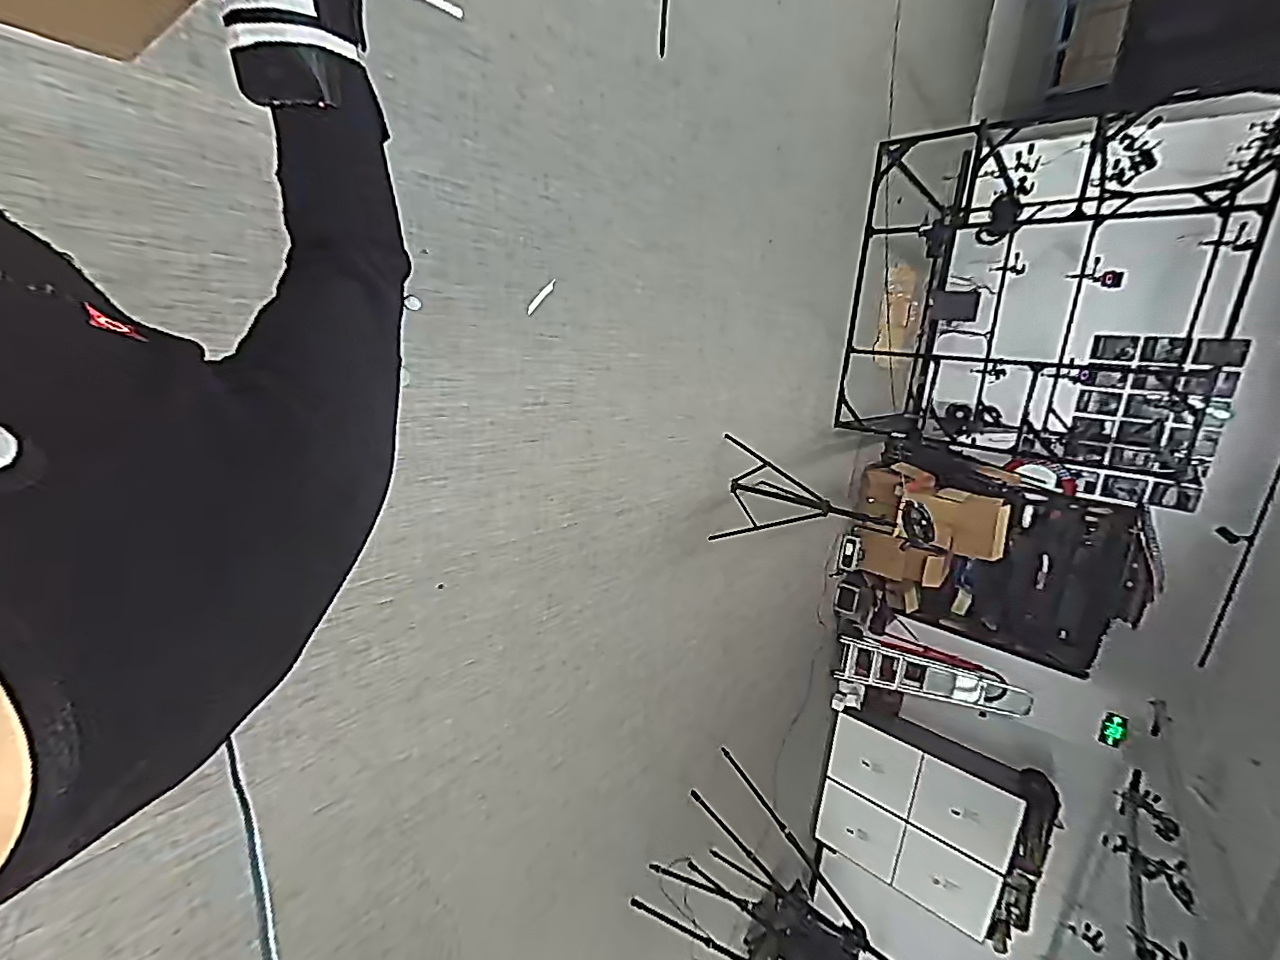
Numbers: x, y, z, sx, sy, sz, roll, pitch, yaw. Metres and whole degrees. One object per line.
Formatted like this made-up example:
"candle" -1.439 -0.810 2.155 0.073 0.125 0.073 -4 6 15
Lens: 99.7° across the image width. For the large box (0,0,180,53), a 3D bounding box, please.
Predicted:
"large box" -0.472 -0.464 0.222 0.408 0.320 0.320 -16 117 -50
